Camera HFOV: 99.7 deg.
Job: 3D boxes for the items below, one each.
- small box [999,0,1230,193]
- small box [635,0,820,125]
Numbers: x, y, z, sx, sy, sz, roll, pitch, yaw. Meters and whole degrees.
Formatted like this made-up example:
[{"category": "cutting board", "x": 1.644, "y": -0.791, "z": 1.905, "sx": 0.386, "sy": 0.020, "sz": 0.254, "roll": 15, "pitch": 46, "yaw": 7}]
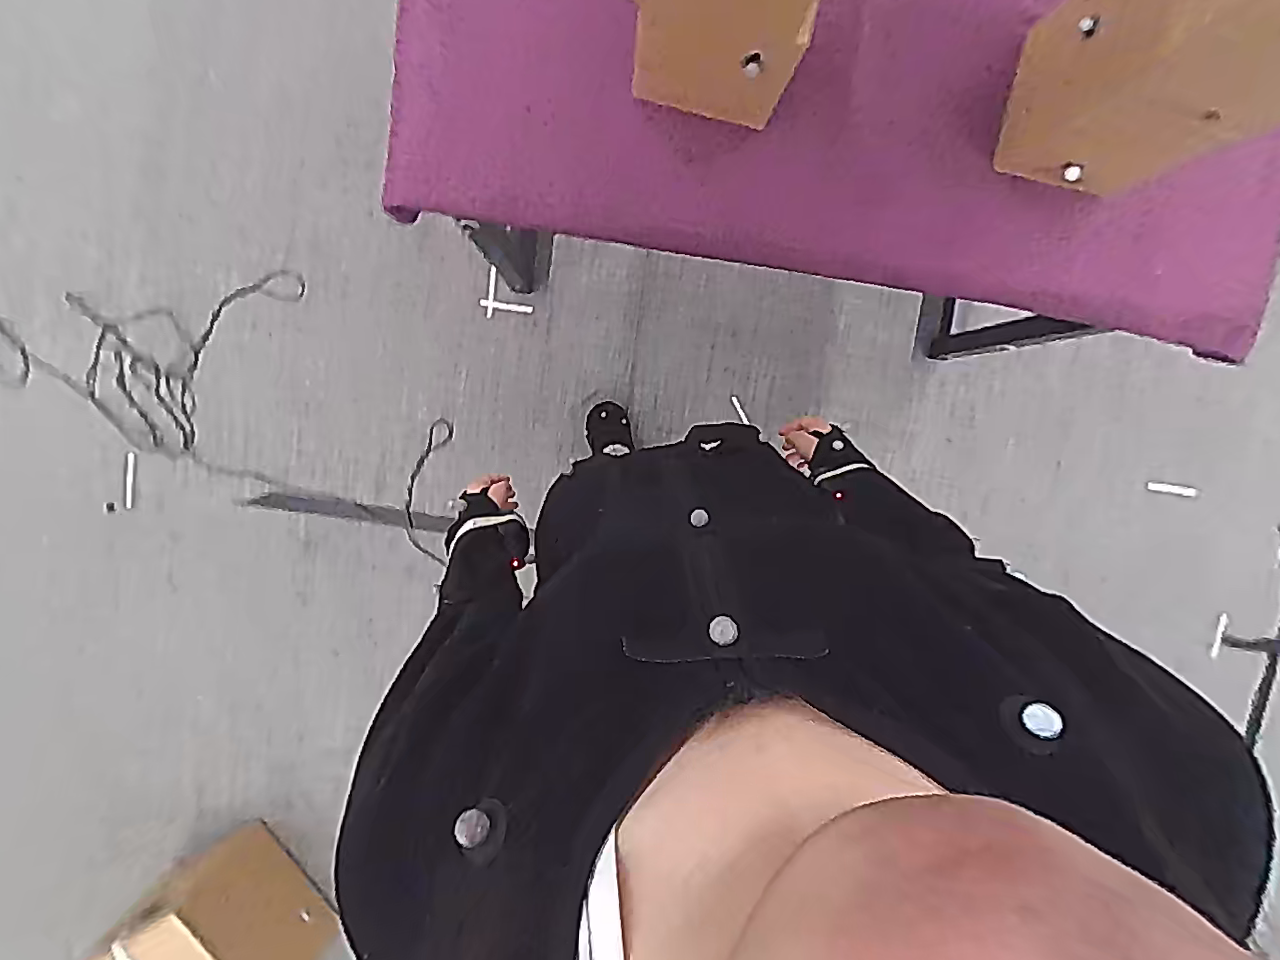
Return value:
[{"category": "small box", "x": 0.569, "y": -0.476, "z": 0.639, "sx": 0.168, "sy": 0.176, "sz": 0.179, "roll": 11, "pitch": 97, "yaw": -3}, {"category": "small box", "x": 0.097, "y": -0.539, "z": 0.608, "sx": 0.179, "sy": 0.176, "sz": 0.168, "roll": 11, "pitch": 95, "yaw": -4}]
